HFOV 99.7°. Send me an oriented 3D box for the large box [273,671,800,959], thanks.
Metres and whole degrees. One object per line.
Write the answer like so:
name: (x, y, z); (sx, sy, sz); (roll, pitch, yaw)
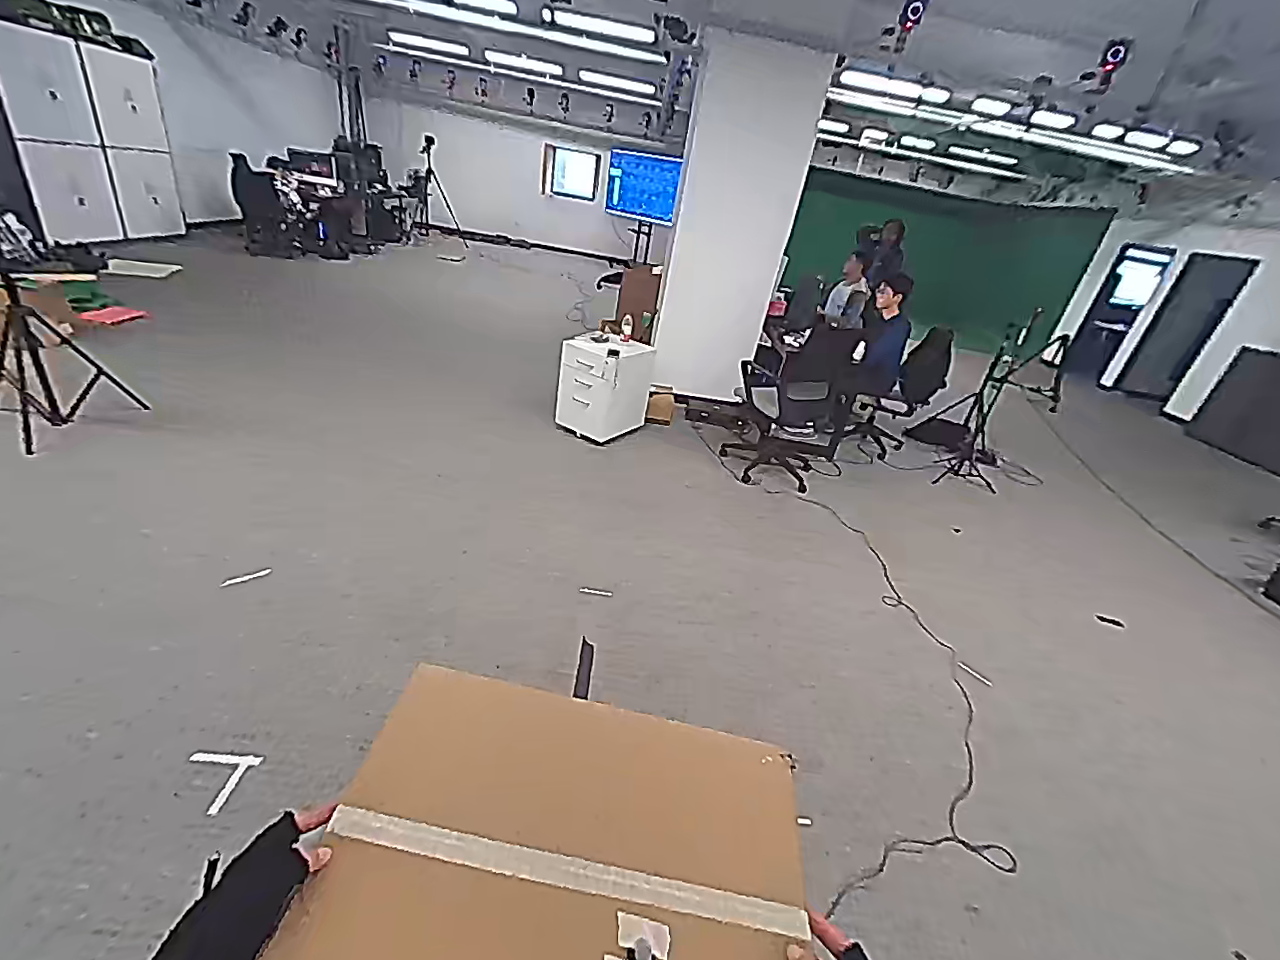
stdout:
large box: (-0.088, 0.452, 0.547); (0.408, 0.320, 0.320); (14, 35, 0)
